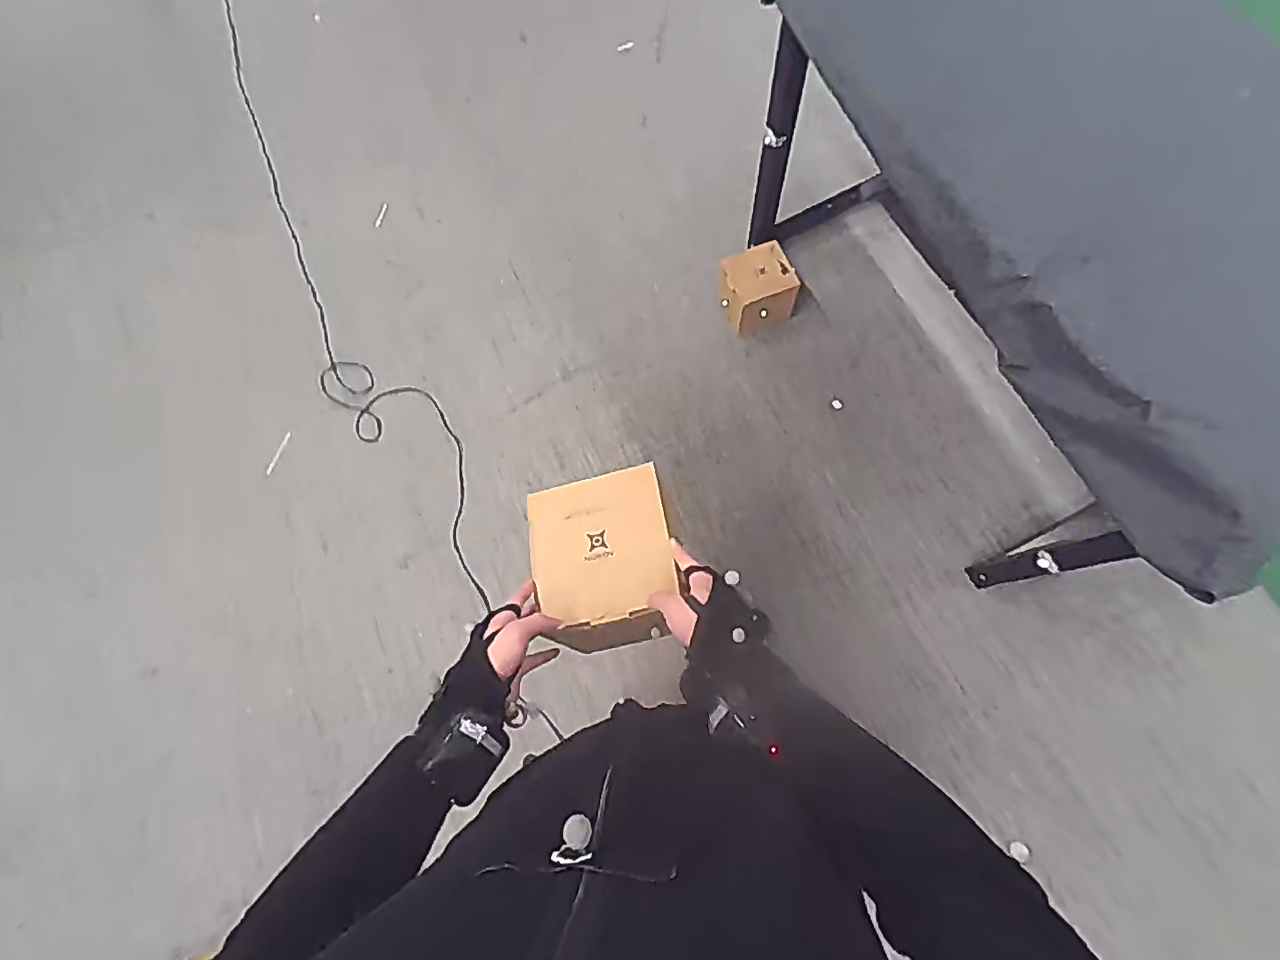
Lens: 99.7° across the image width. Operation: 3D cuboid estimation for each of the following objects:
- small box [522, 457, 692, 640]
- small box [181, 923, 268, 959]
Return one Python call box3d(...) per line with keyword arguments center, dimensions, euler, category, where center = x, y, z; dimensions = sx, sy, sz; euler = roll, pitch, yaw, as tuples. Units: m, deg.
box3d(center=(-0.037, 0.099, 0.693), dimensions=(0.168, 0.176, 0.179), euler=(-15, 62, 7), category="small box")
box3d(center=(-0.964, 1.140, 1.195), dimensions=(0.179, 0.176, 0.168), euler=(-24, 73, -2), category="small box")
